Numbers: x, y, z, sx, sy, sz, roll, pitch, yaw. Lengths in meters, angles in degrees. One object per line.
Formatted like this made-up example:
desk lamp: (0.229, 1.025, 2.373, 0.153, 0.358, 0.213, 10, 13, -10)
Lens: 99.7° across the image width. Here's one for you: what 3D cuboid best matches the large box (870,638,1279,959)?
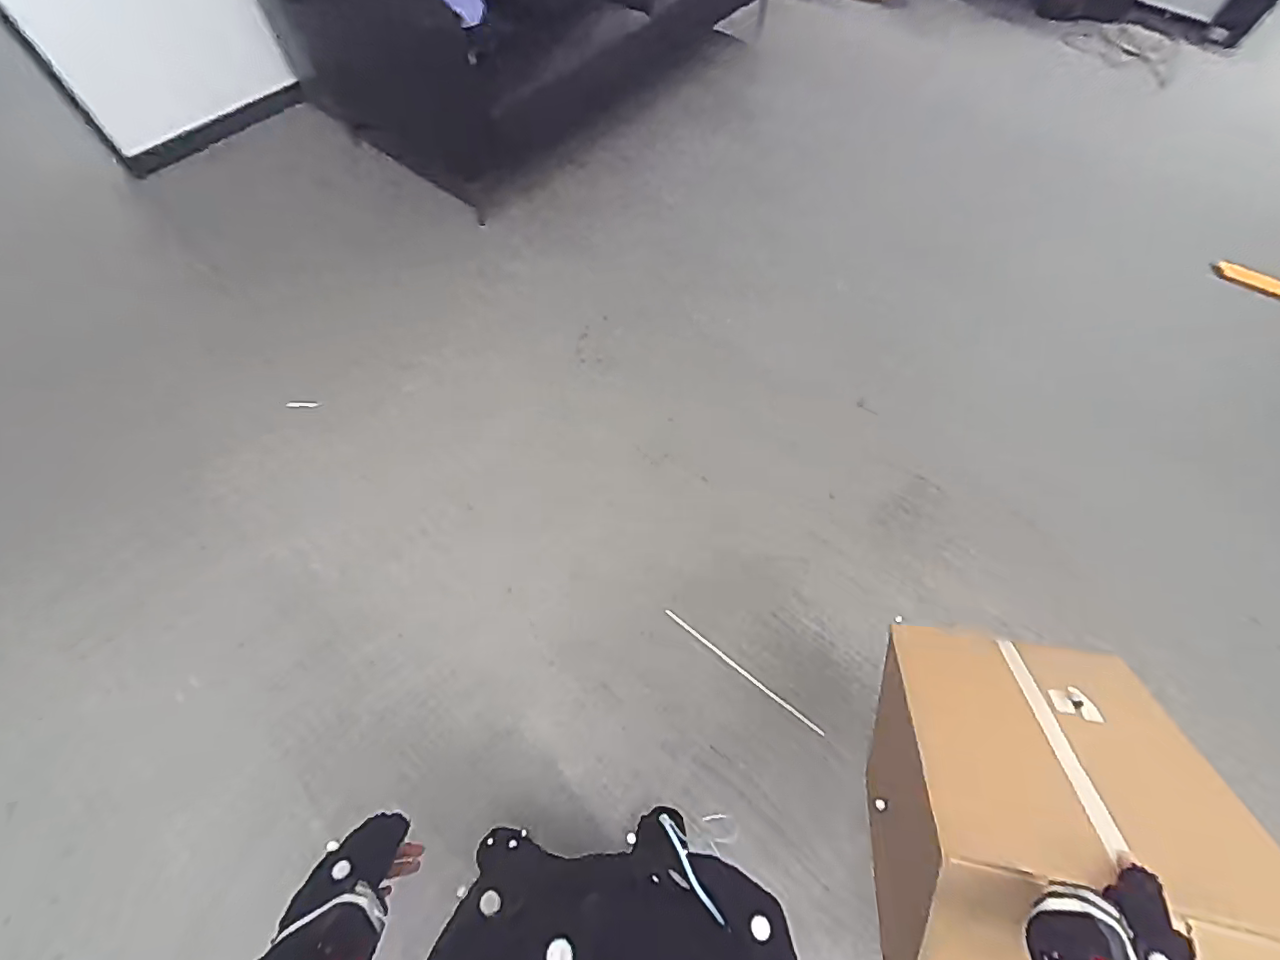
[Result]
large box: (0.495, 0.469, 0.694, 0.320, 0.320, 0.408, 8, 19, 16)
